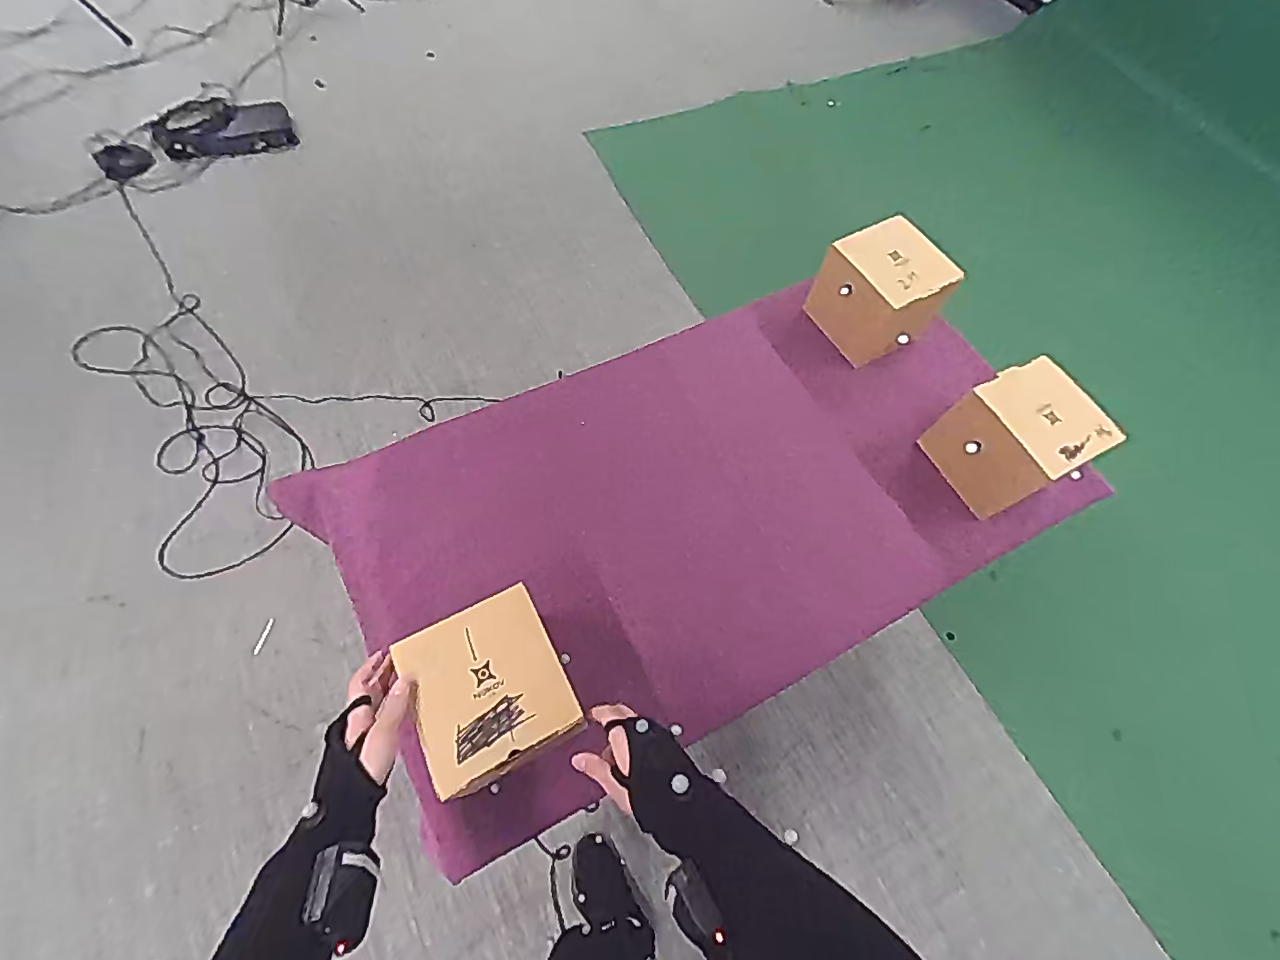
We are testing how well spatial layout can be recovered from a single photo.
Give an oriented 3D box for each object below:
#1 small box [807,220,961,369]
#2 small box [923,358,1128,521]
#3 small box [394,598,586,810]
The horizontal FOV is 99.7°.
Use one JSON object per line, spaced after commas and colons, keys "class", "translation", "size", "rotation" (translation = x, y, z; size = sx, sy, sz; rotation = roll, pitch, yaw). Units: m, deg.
{"class": "small box", "translation": [0.445, -0.344, 1.022], "size": [0.168, 0.176, 0.179], "rotation": [-28, 69, -12]}
{"class": "small box", "translation": [0.613, -0.061, 0.889], "size": [0.168, 0.176, 0.179], "rotation": [-25, 67, -12]}
{"class": "small box", "translation": [-0.178, 0.280, 0.685], "size": [0.168, 0.176, 0.179], "rotation": [-25, 66, -14]}
